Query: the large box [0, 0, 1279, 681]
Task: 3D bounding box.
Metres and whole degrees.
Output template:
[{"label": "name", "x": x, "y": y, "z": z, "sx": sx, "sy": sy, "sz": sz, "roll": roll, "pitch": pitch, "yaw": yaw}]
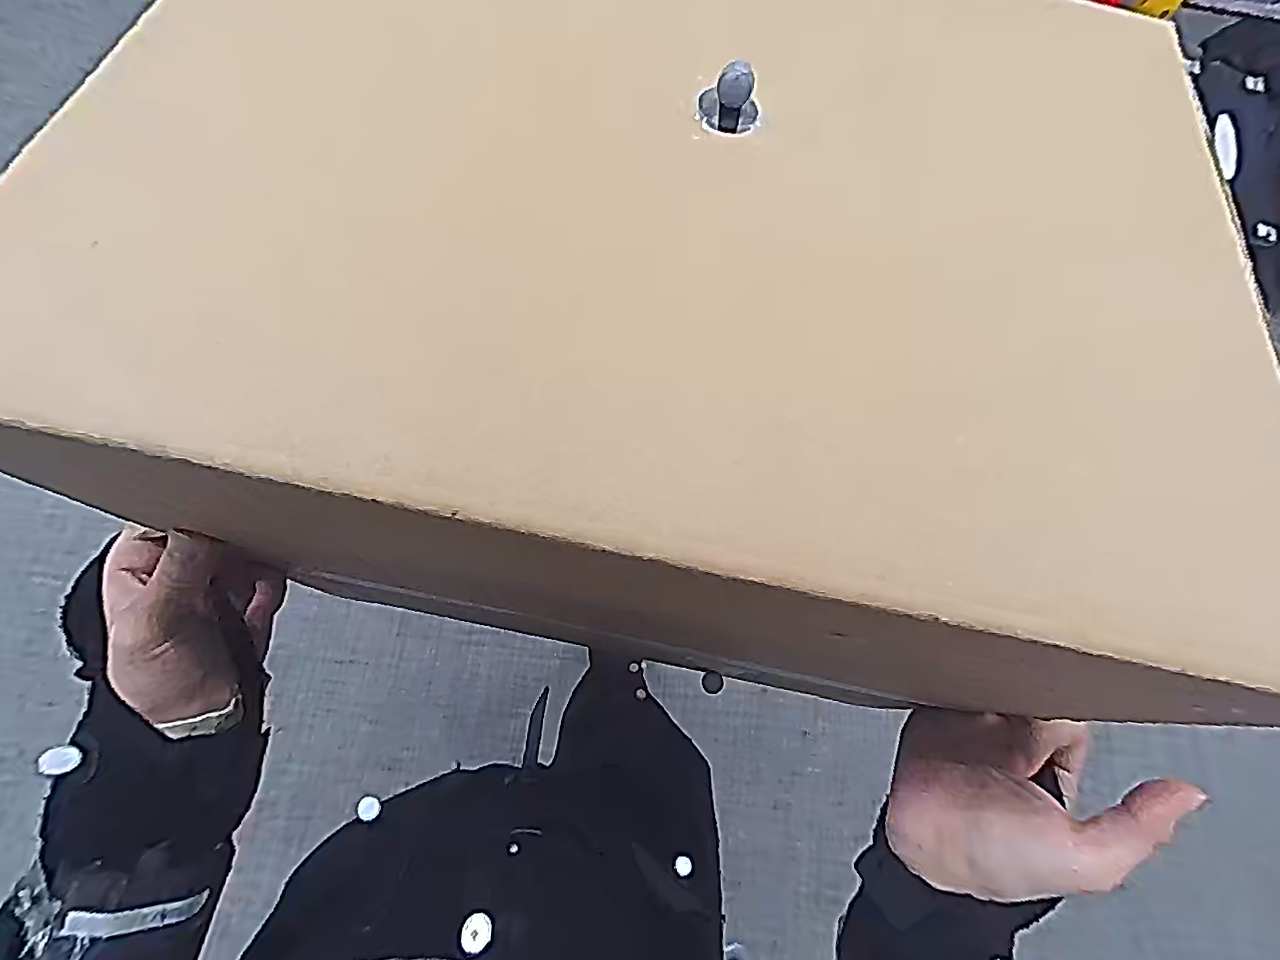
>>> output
[{"label": "large box", "x": 0.016, "y": -0.080, "z": 0.333, "sx": 0.408, "sy": 0.320, "sz": 0.320, "roll": 11, "pitch": 69, "yaw": -1}]
